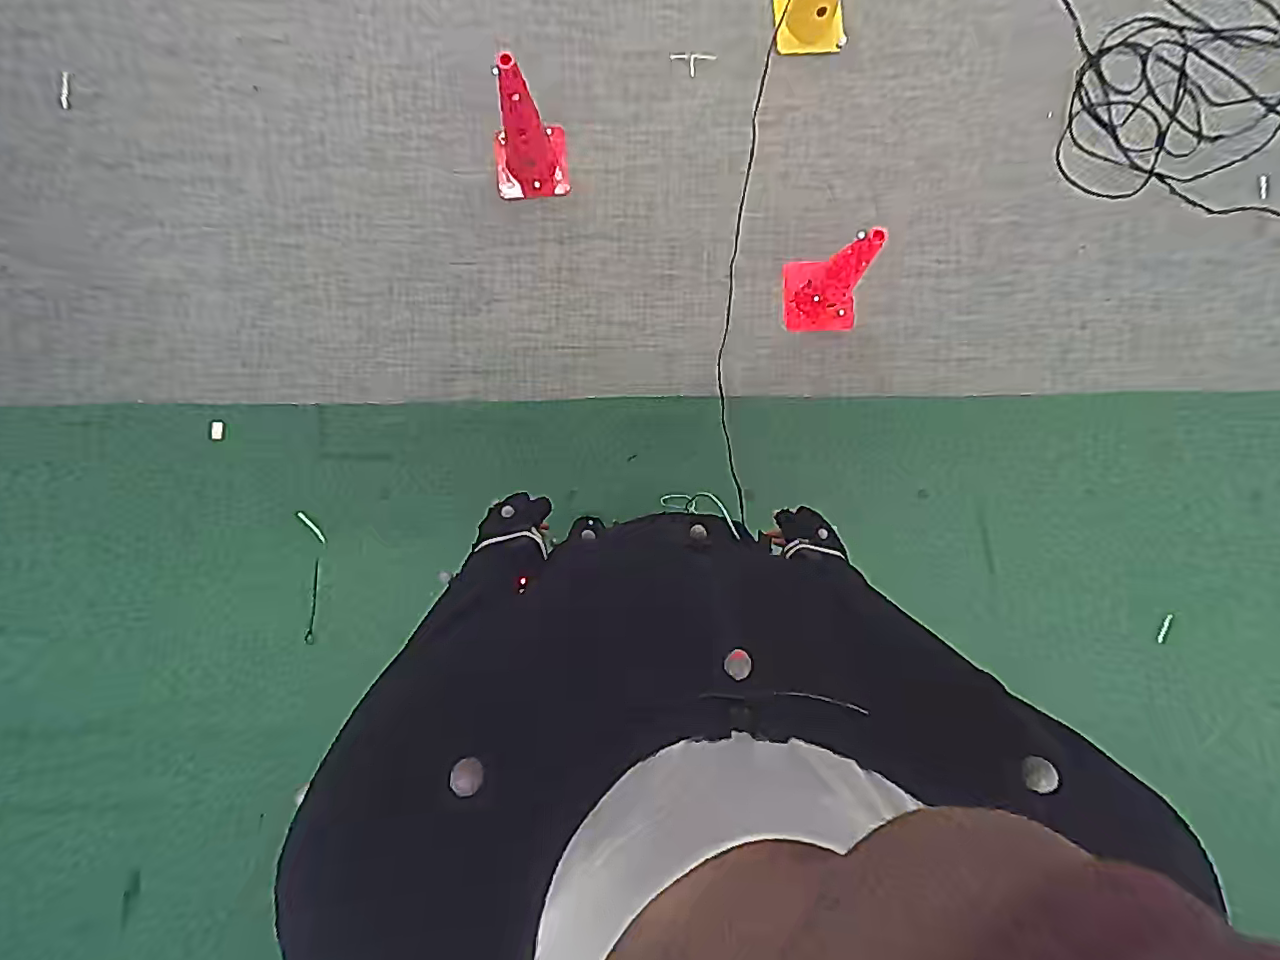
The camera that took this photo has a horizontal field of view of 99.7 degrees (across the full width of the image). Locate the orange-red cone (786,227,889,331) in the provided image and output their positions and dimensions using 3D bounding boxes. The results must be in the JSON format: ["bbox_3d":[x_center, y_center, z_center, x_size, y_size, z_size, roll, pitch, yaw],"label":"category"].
[{"bbox_3d":[0.522,-0.533,1.364,0.198,0.360,0.199,-1,86,-3],"label":"orange-red cone"}]

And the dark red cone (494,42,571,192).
[{"bbox_3d":[-0.291,-0.902,1.332,0.202,0.394,0.201,-7,89,-2],"label":"dark red cone"}]
